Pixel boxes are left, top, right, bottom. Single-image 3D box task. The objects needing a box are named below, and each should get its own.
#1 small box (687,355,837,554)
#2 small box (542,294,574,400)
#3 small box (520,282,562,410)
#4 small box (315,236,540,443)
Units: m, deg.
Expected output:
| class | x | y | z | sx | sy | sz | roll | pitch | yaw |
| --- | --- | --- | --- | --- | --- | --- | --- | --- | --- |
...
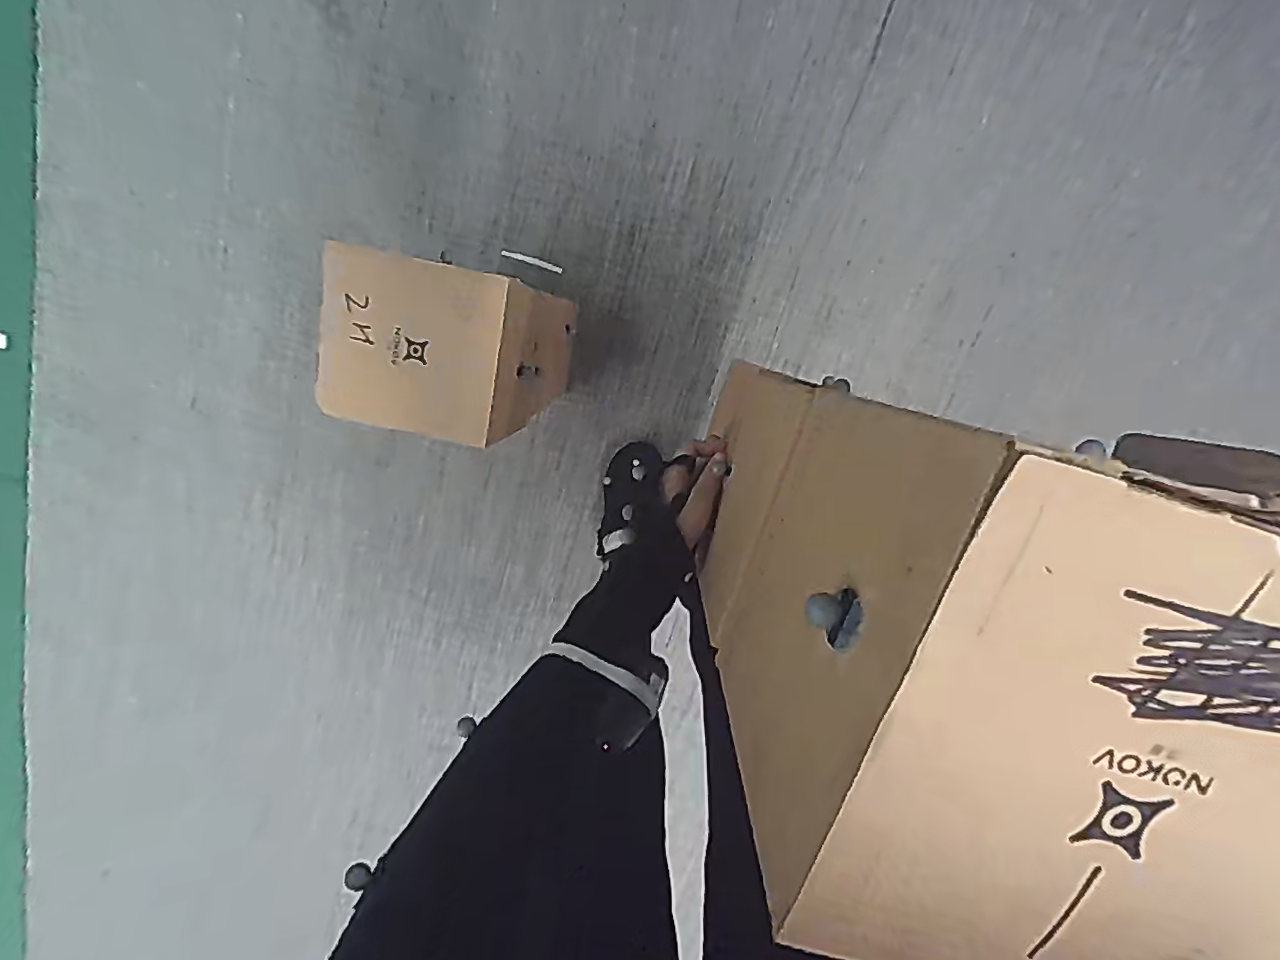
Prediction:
| class | x | y | z | sx | sy | sz | roll | pitch | yaw |
| --- | --- | --- | --- | --- | --- | --- | --- | --- | --- |
| small box | 0.151 | -0.023 | 0.569 | 0.168 | 0.176 | 0.179 | 17 | 104 | -3 |
| small box | -0.217 | -0.240 | 0.909 | 0.179 | 0.176 | 0.168 | 12 | 104 | 0 |
| small box | -0.219 | -0.194 | 0.752 | 0.179 | 0.176 | 0.168 | 11 | 104 | 0 |
| small box | -0.217 | -0.150 | 0.592 | 0.179 | 0.176 | 0.168 | 12 | 104 | 0 |
